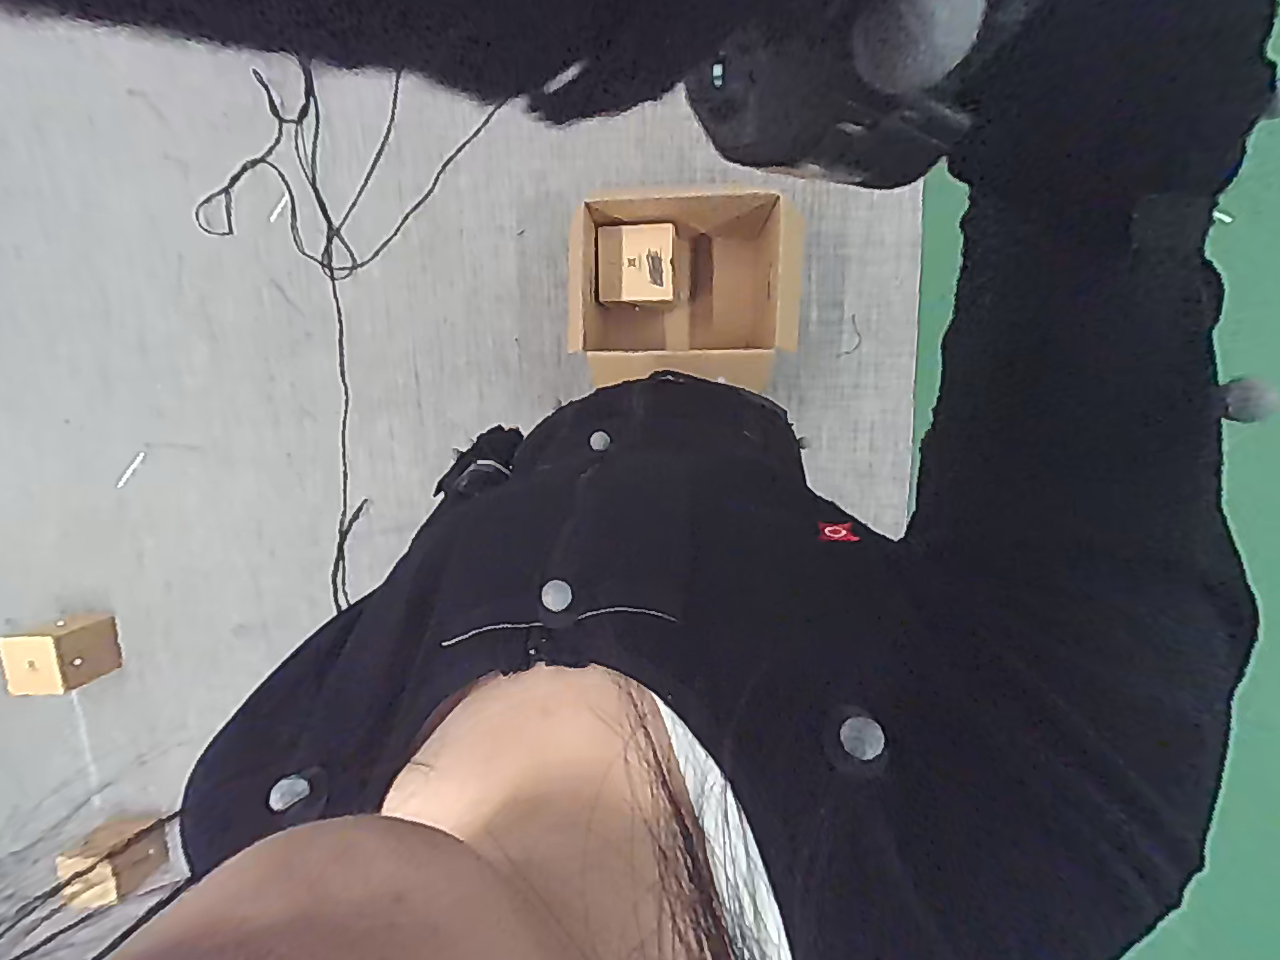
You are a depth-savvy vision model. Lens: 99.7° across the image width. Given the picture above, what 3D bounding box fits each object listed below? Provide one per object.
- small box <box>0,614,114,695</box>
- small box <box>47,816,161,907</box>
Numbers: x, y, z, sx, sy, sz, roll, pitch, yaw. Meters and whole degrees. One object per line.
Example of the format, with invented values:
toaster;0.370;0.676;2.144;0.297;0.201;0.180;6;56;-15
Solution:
small box;-1.697;0.499;1.568;0.168;0.176;0.179;-2;100;3
small box;-1.653;1.175;1.677;0.179;0.176;0.168;-2;99;3
